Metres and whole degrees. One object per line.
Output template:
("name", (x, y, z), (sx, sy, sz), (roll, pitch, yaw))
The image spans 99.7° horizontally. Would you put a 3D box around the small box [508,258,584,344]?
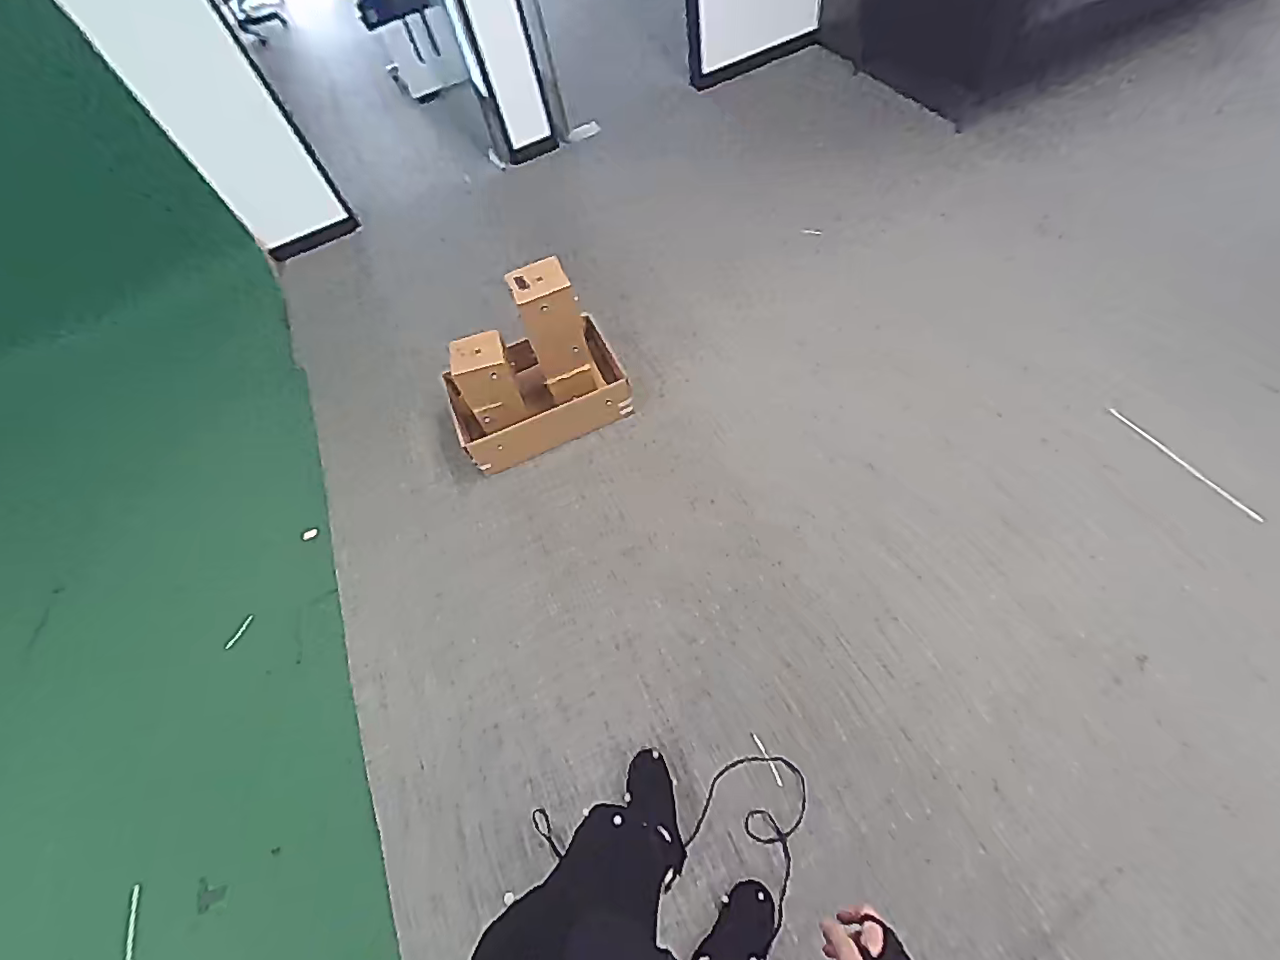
("small box", (-0.296, -0.567, 1.729), (0.179, 0.176, 0.168), (-23, 58, -5))
